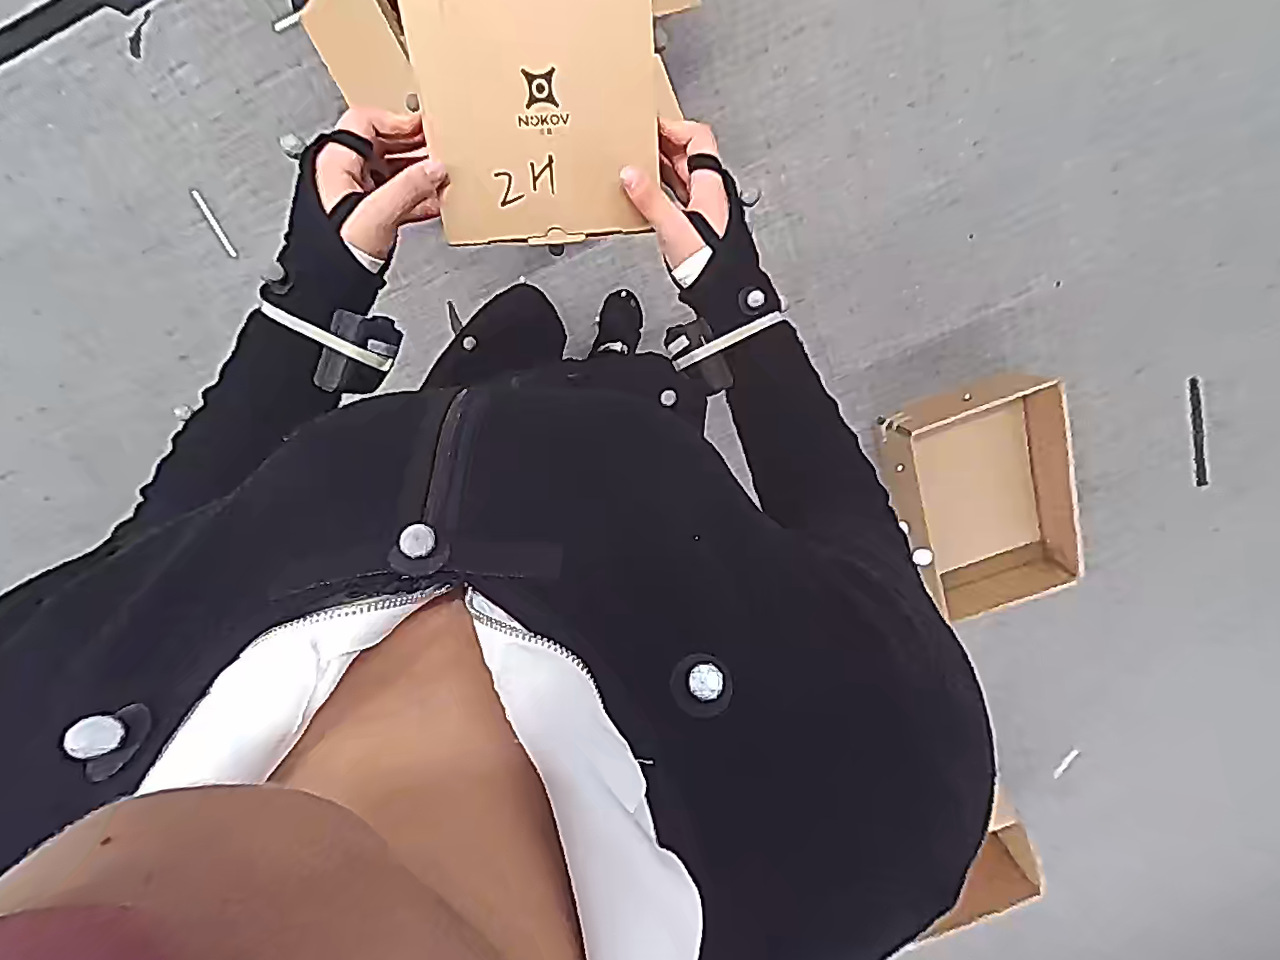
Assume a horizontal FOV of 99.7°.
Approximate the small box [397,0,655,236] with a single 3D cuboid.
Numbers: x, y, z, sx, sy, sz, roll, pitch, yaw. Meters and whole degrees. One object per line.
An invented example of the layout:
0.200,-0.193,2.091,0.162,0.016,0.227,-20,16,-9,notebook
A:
-0.085,-0.302,0.446,0.168,0.176,0.179,-7,115,-6,small box
